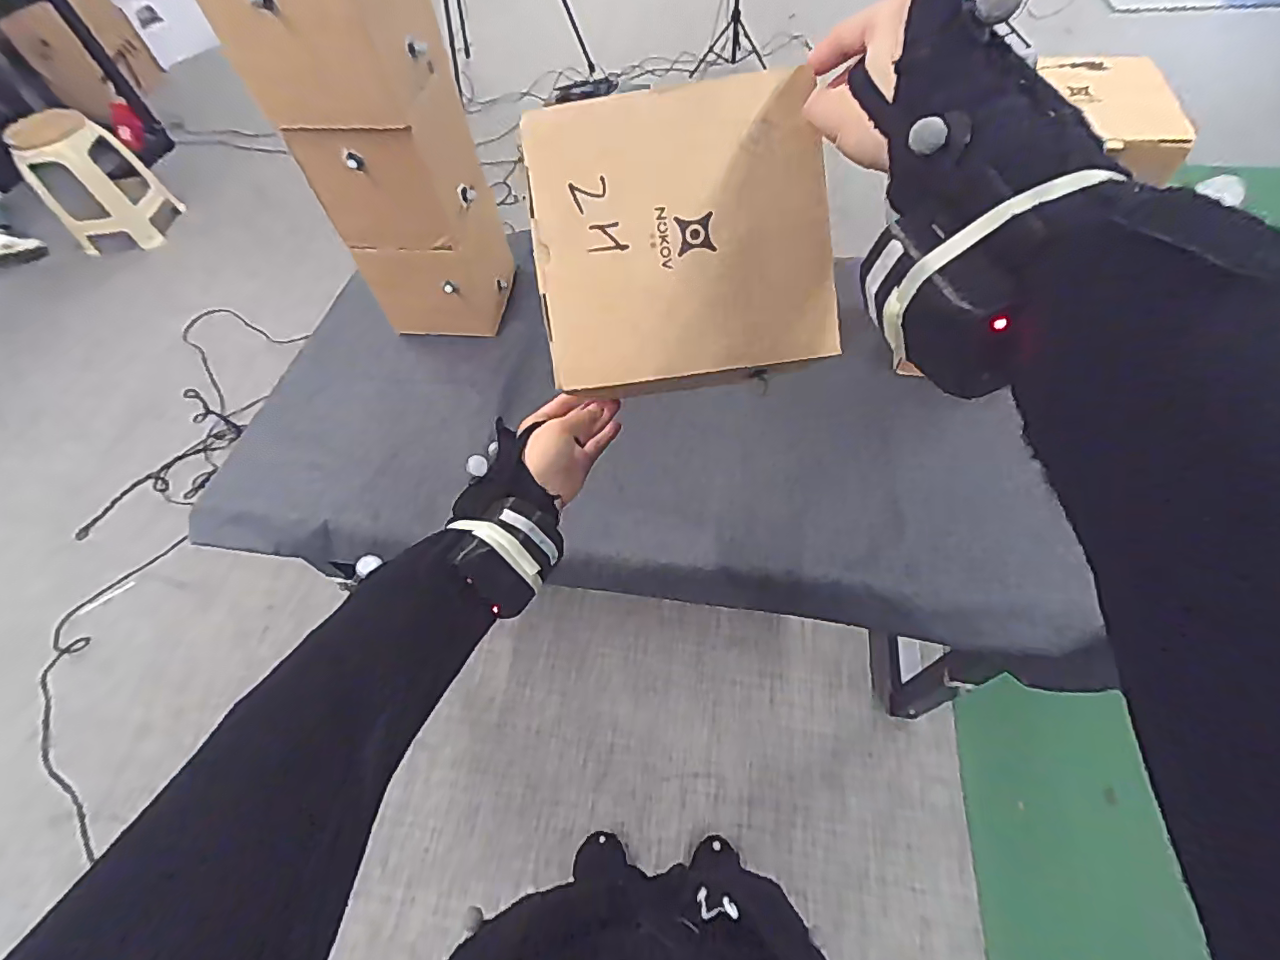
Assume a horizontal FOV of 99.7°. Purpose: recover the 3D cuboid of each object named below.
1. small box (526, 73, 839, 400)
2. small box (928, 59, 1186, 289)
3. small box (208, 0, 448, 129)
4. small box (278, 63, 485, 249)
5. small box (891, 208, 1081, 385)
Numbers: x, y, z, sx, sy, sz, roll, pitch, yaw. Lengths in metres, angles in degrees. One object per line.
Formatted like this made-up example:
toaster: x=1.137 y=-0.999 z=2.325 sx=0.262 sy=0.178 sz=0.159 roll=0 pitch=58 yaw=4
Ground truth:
small box: x=0.030 y=-0.152 z=0.400 sx=0.179 sy=0.176 sz=0.168 roll=-6 pitch=95 yaw=4
small box: x=0.447 y=-0.343 z=0.618 sx=0.168 sy=0.176 sz=0.179 roll=8 pitch=61 yaw=10
small box: x=-0.346 y=-0.520 z=0.603 sx=0.179 sy=0.176 sz=0.168 roll=5 pitch=60 yaw=6
small box: x=-0.338 y=-0.442 z=0.748 sx=0.179 sy=0.176 sz=0.168 roll=3 pitch=60 yaw=5
small box: x=0.464 y=-0.261 z=0.759 sx=0.168 sy=0.176 sz=0.179 roll=8 pitch=60 yaw=10
